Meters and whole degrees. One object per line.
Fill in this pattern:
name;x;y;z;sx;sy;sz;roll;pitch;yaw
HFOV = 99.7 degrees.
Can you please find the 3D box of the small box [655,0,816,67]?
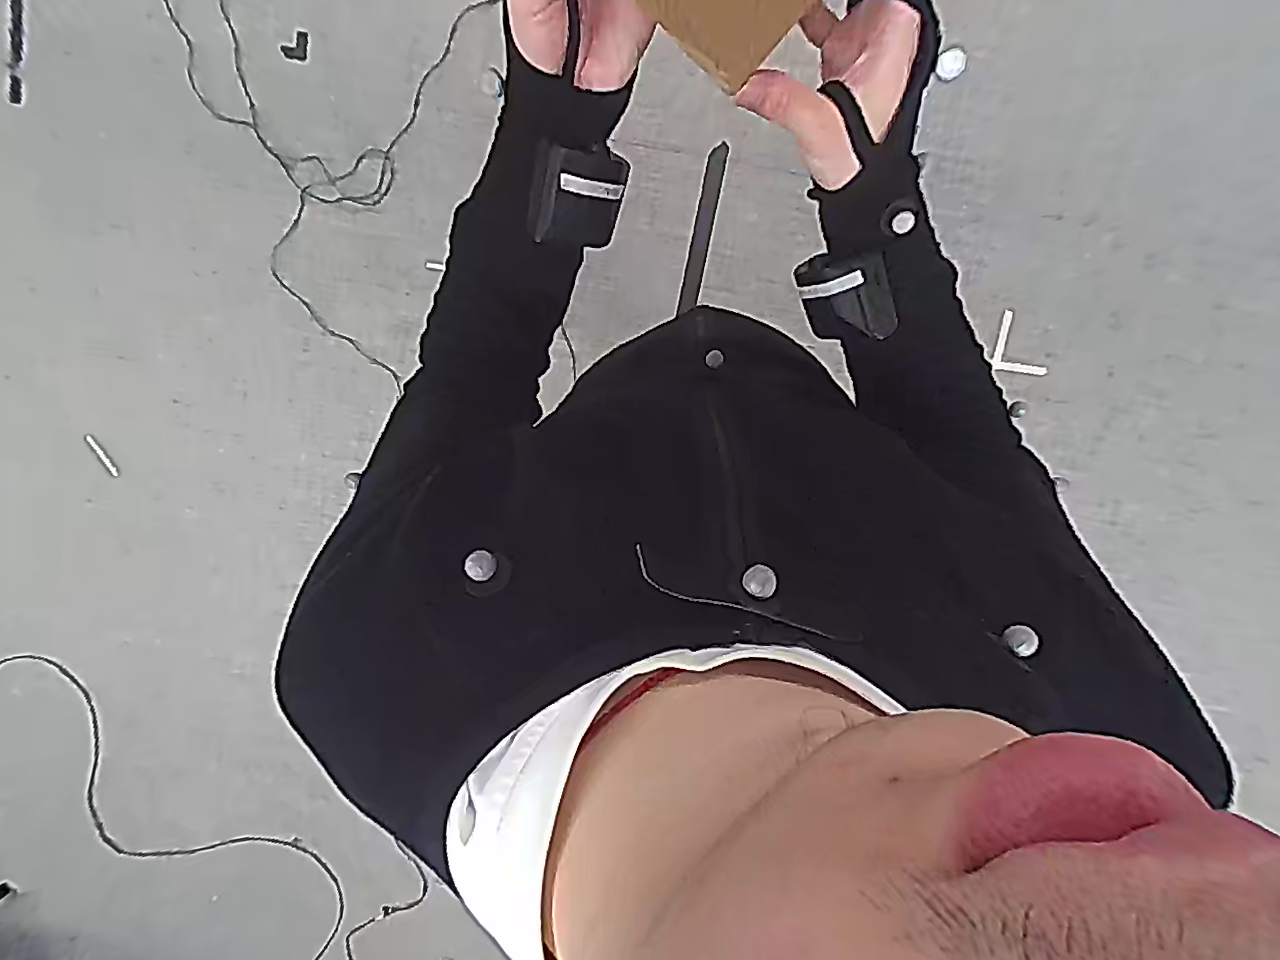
small box;0.035;-0.288;0.170;0.179;0.176;0.168;40;107;-10
